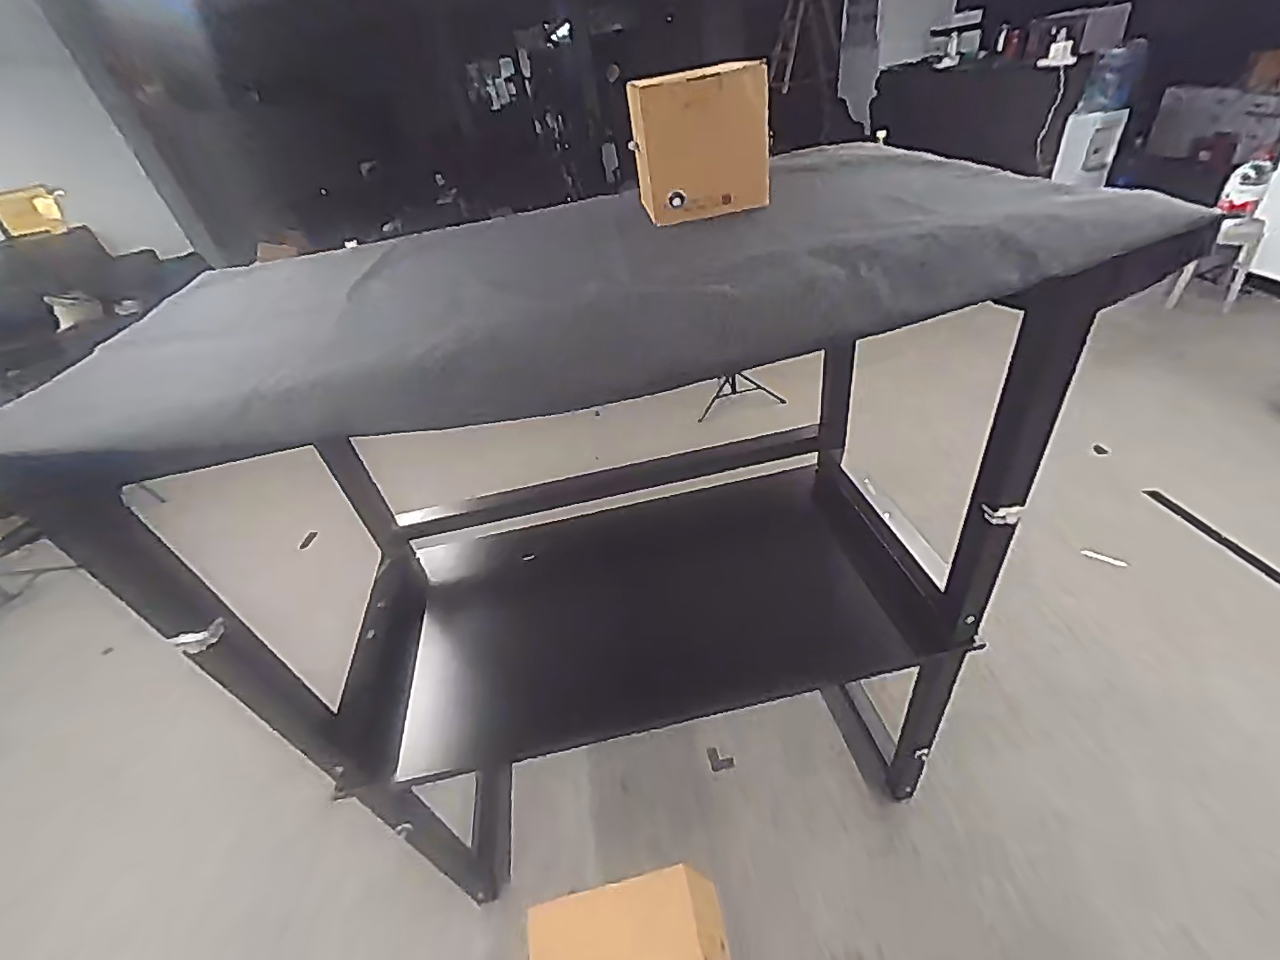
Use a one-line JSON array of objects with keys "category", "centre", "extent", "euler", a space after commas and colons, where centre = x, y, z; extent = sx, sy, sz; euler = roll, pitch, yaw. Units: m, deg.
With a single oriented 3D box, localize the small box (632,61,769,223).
[{"category": "small box", "centre": [0.088, -0.487, 0.787], "extent": [0.168, 0.176, 0.179], "euler": [-10, 37, 0]}]
